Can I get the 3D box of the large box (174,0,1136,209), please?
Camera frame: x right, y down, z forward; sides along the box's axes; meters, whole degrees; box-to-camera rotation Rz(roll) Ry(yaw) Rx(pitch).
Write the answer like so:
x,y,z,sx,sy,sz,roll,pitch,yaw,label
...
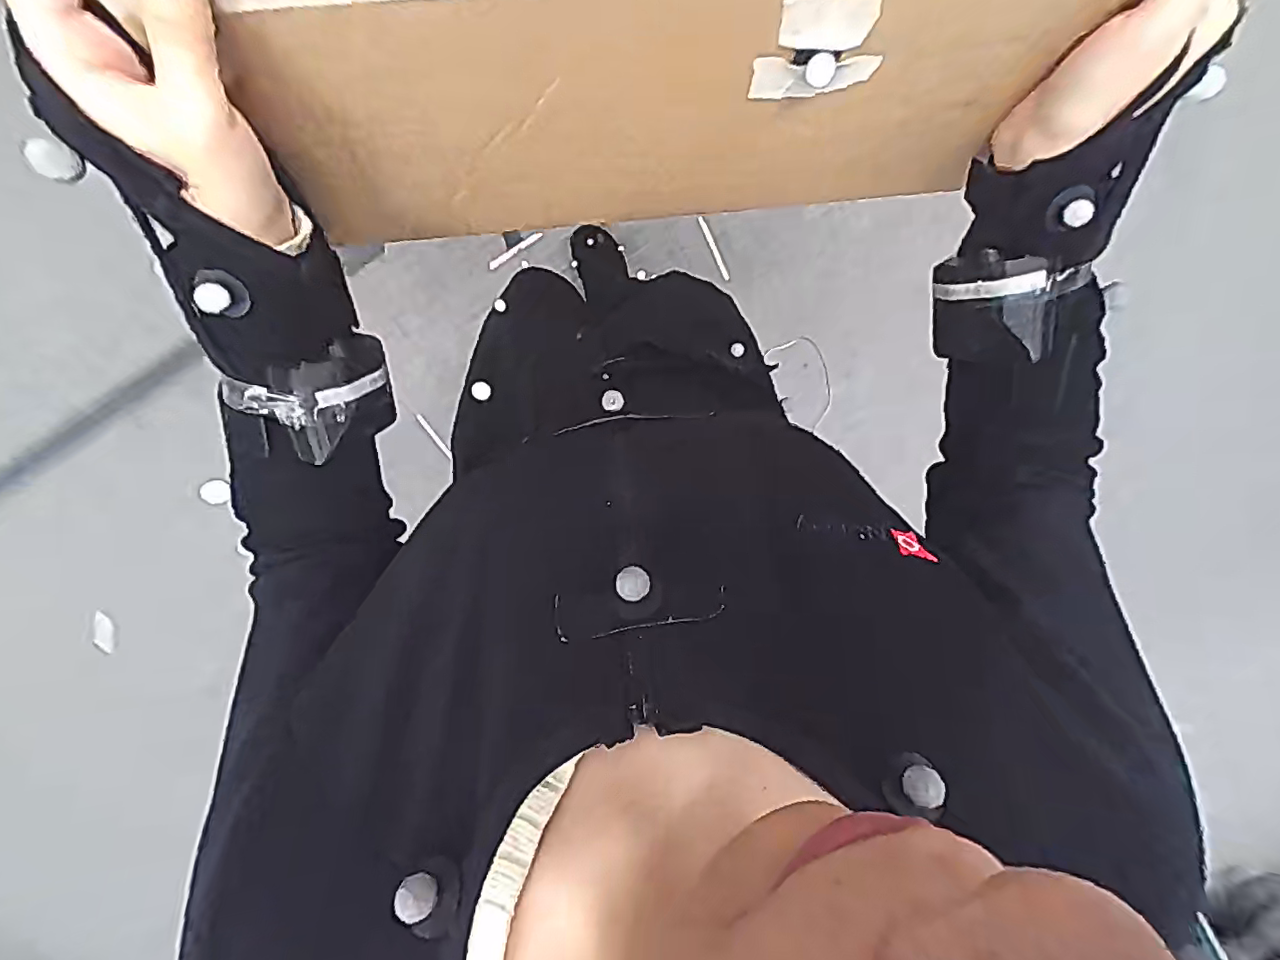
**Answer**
x,y,z,sx,sy,sz,roll,pitch,yaw,label
0.008,-0.352,0.199,0.408,0.320,0.320,-7,81,-4,large box
